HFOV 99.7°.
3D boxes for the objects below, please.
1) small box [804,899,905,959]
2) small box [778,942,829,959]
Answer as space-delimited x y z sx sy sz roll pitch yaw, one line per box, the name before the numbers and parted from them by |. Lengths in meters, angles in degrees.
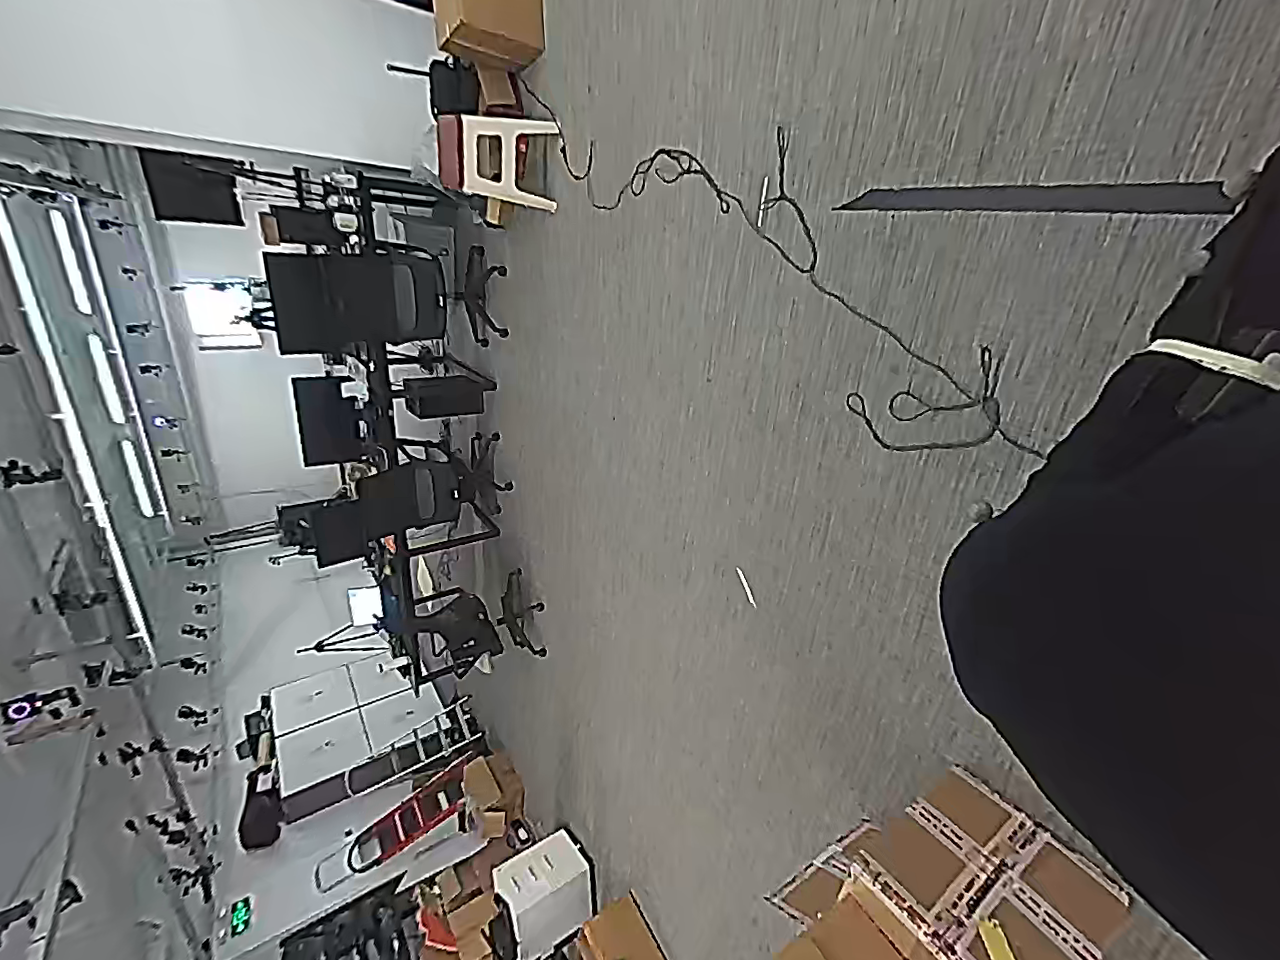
small box | 0.454 1.064 1.161 0.179 0.176 0.168 41 130 46
small box | 0.322 1.064 1.060 0.179 0.176 0.168 37 127 47
